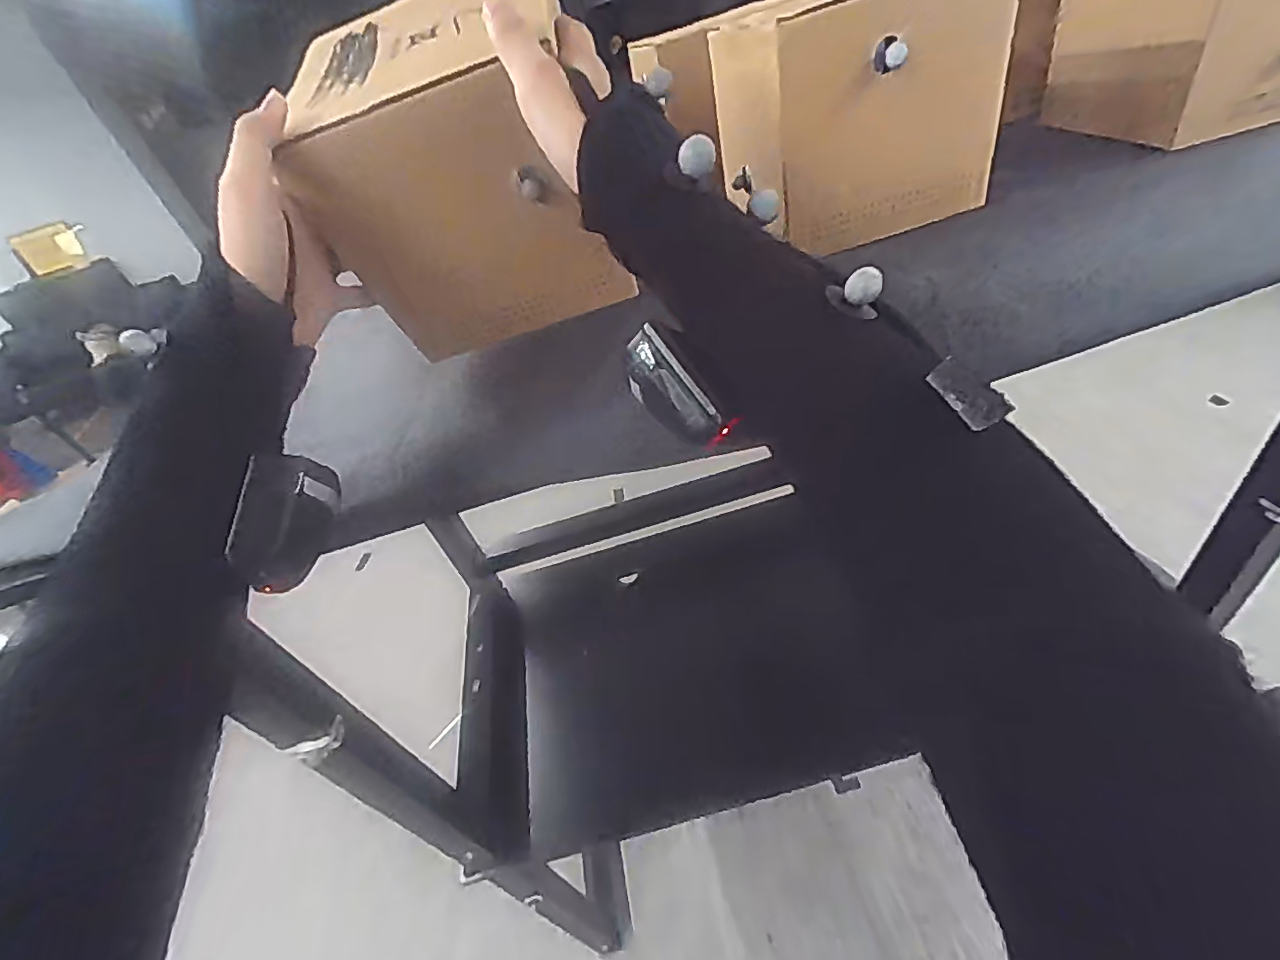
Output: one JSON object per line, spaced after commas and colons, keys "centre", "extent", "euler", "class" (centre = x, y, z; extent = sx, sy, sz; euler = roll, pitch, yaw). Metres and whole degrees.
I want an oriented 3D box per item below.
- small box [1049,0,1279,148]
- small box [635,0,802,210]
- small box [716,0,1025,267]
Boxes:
{"centre": [0.492, -0.400, 0.454], "extent": [0.168, 0.176, 0.179], "euler": [-13, 39, 7], "class": "small box"}
{"centre": [0.101, -0.452, 0.662], "extent": [0.168, 0.176, 0.179], "euler": [-17, 40, 1], "class": "small box"}
{"centre": [0.180, -0.310, 0.468], "extent": [0.179, 0.176, 0.168], "euler": [-17, 39, 1], "class": "small box"}
